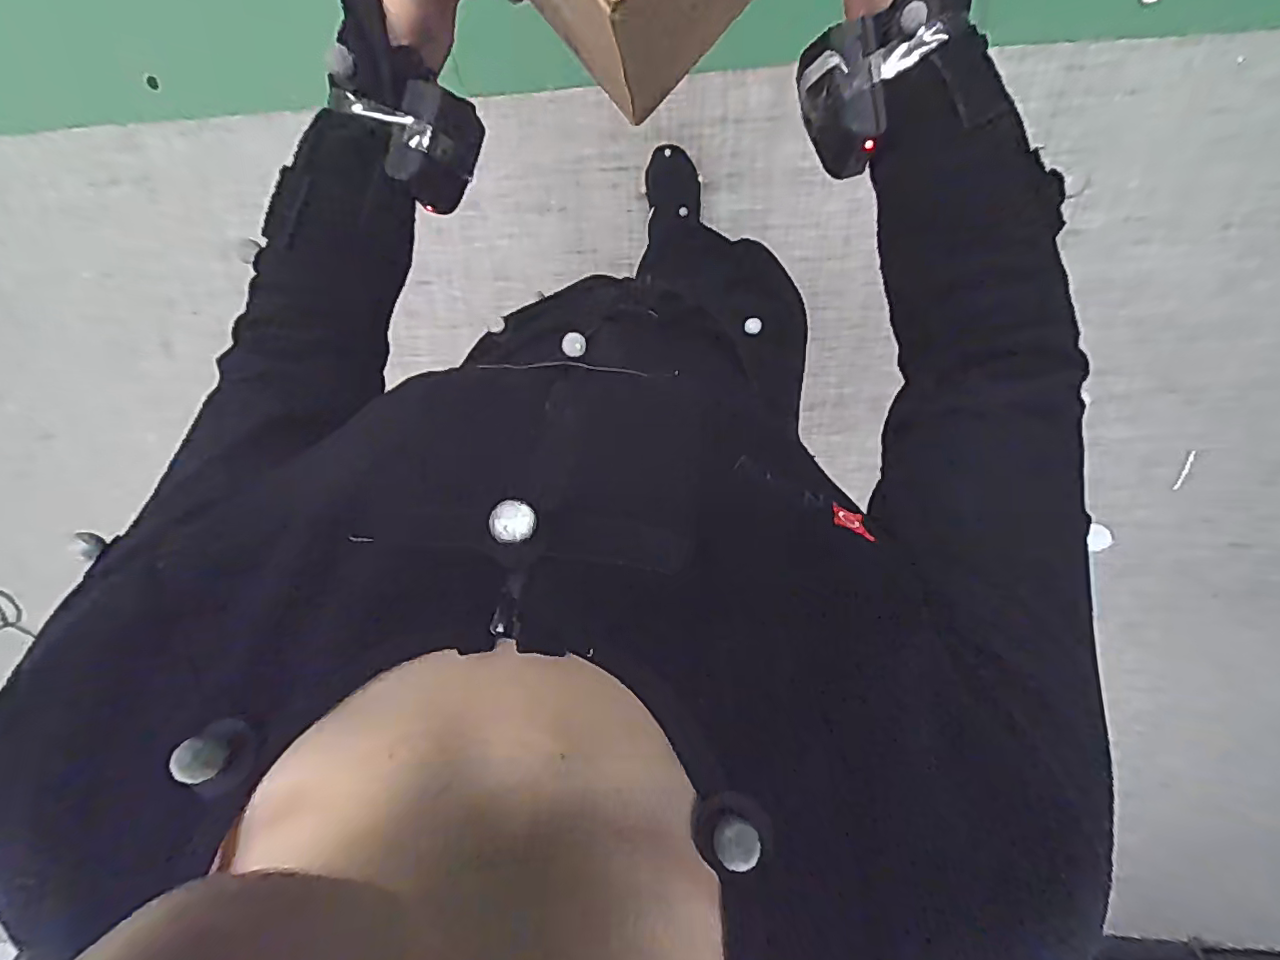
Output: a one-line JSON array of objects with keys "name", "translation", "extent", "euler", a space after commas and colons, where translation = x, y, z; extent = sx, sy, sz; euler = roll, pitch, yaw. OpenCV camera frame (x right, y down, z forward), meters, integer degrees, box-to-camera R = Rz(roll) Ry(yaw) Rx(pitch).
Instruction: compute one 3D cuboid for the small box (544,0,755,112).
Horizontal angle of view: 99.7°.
[{"name": "small box", "translation": [0.002, -0.341, 0.279], "extent": [0.179, 0.176, 0.168], "euler": [-42, 101, 16]}]
